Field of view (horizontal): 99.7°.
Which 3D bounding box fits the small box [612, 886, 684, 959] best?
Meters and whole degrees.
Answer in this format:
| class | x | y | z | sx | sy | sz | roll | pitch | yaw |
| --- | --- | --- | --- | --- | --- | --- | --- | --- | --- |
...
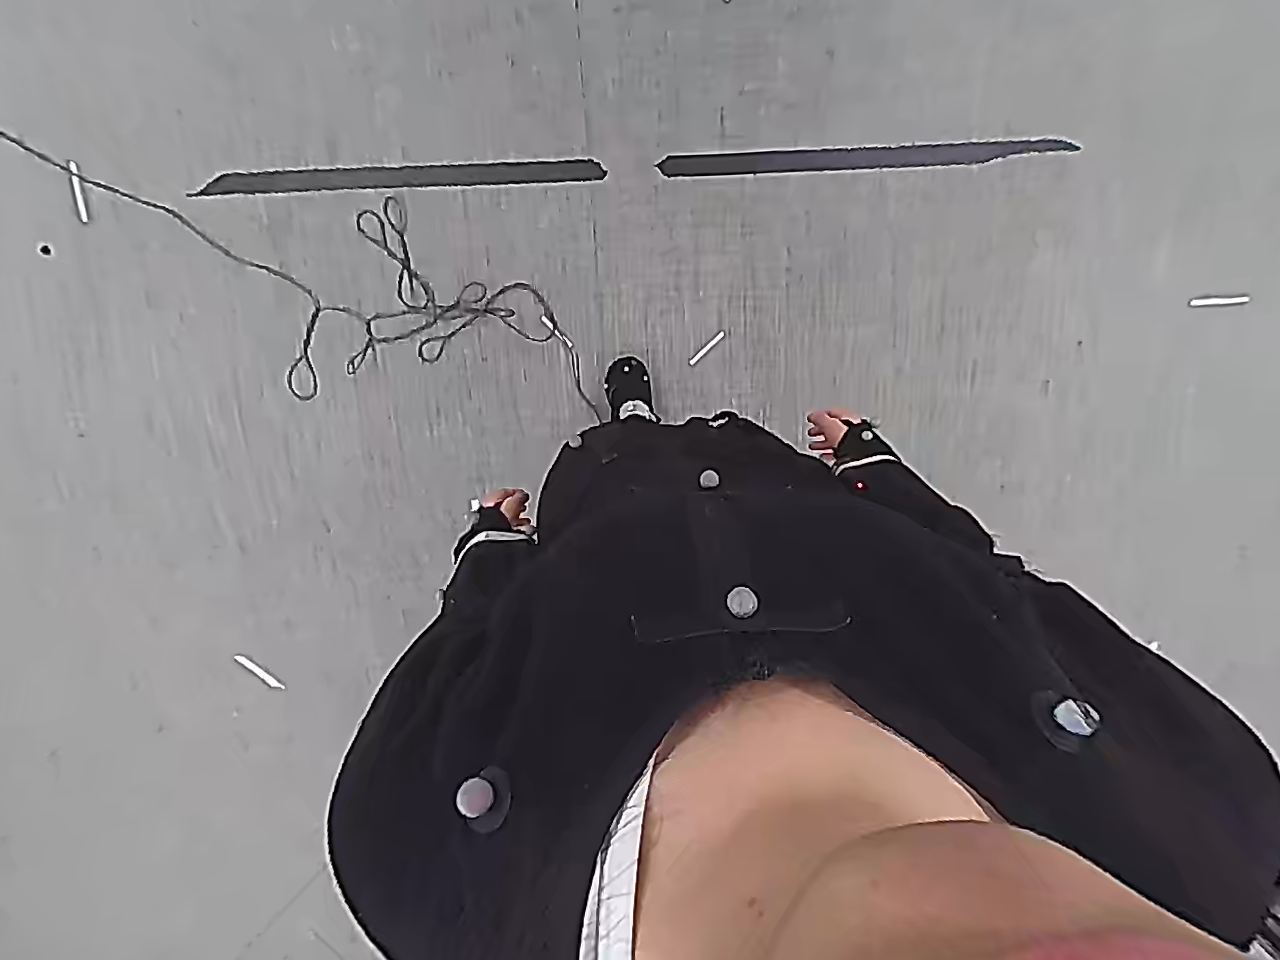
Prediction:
| class | x | y | z | sx | sy | sz | roll | pitch | yaw |
| --- | --- | --- | --- | --- | --- | --- | --- | --- | --- |
| small box | 0.035 | 0.881 | 0.975 | 0.168 | 0.176 | 0.179 | -2 | 99 | -2 |
